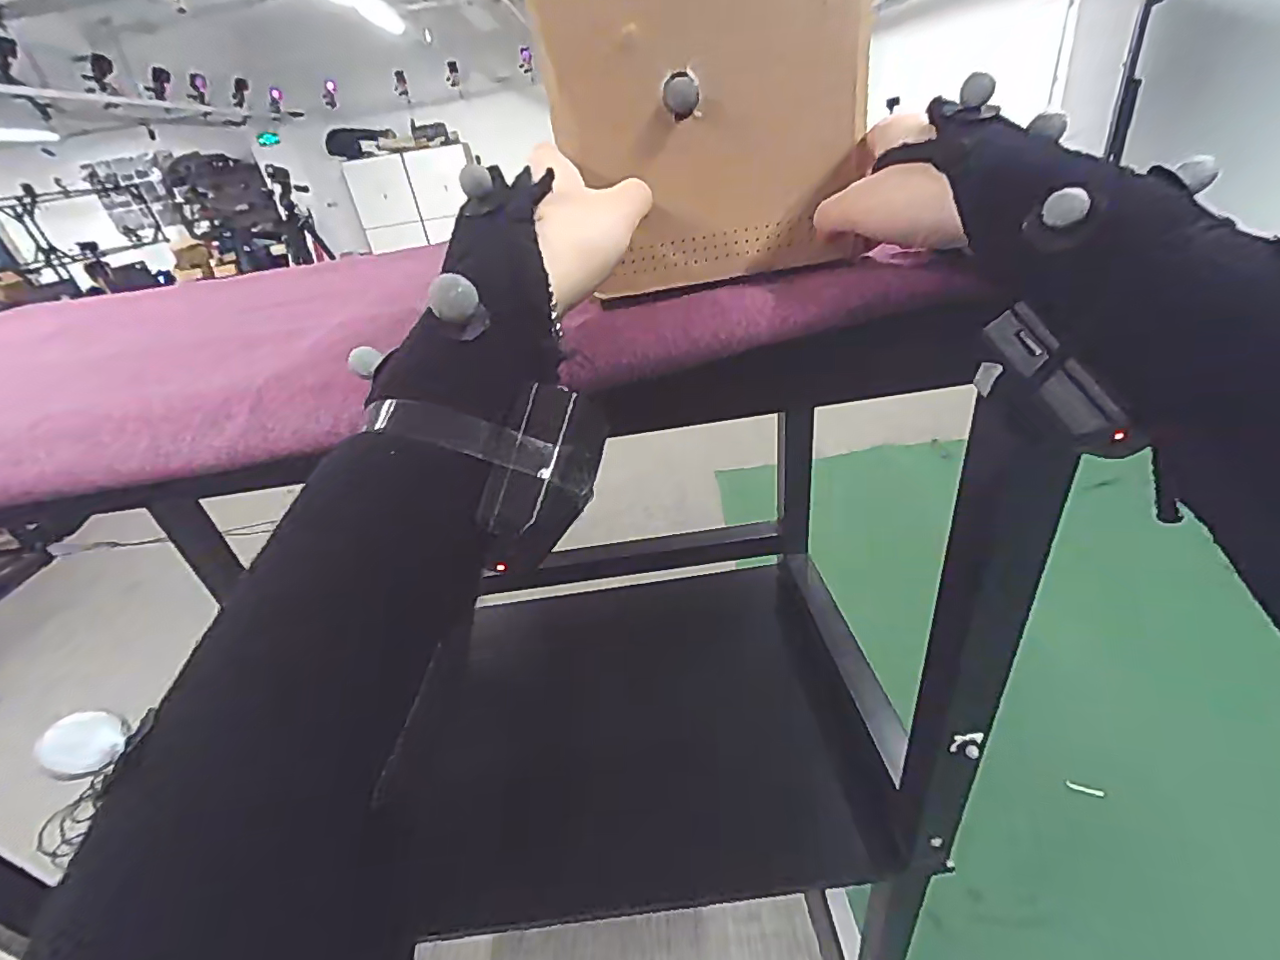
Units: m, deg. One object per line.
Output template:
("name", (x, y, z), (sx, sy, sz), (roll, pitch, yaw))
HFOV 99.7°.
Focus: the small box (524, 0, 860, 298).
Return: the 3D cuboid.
("small box", (0.037, -0.231, 0.366), (0.179, 0.176, 0.168), (-9, 29, 3))
